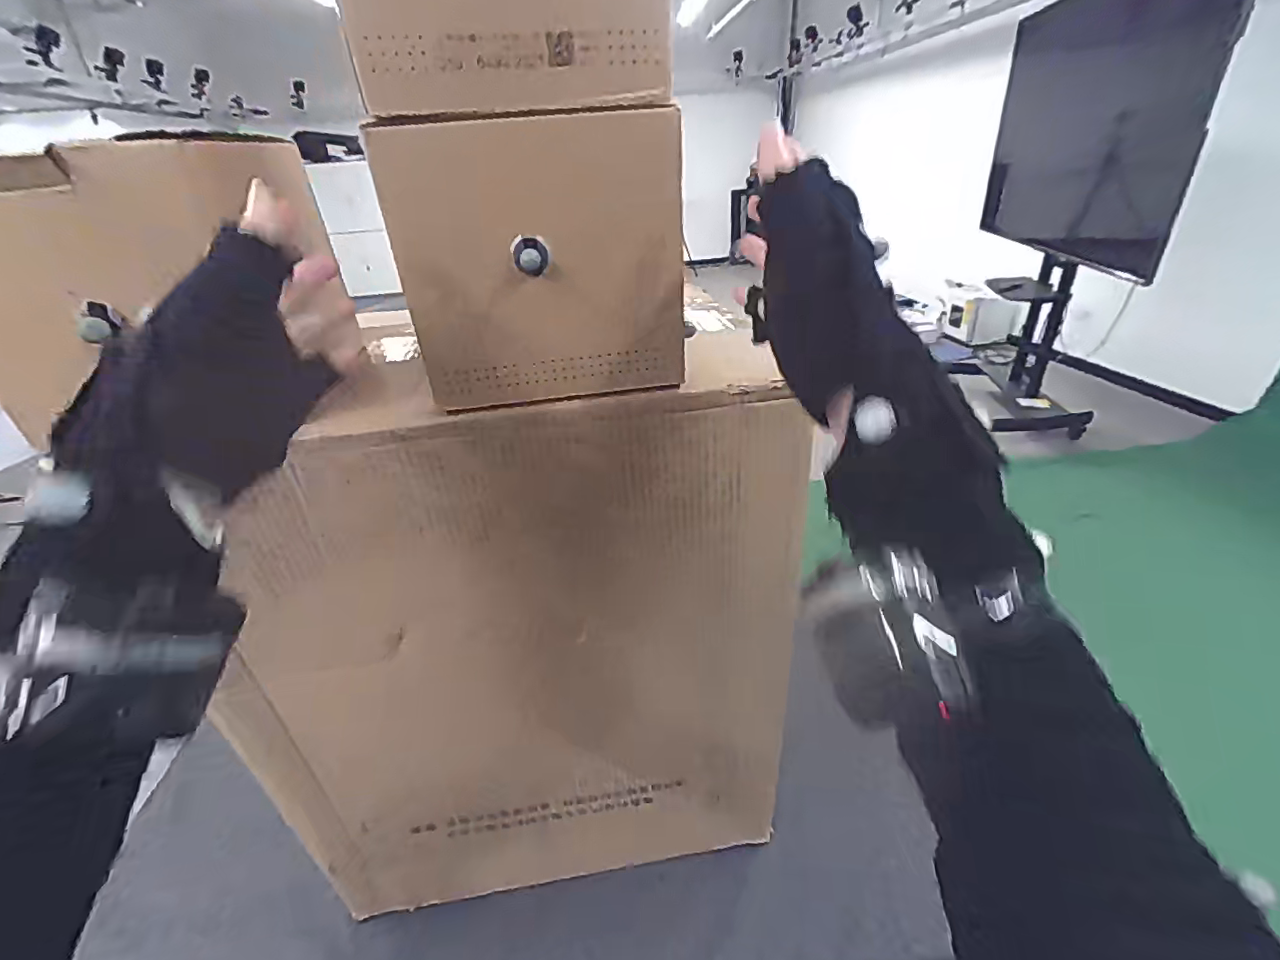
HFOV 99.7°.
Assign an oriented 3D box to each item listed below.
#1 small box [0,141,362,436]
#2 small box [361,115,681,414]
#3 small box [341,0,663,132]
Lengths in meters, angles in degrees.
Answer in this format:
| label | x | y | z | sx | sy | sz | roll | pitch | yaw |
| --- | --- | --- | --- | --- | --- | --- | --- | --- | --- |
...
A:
| label | x | y | z | sx | sy | sz | roll | pitch | yaw |
| --- | --- | --- | --- | --- | --- | --- | --- | --- | --- |
| small box | -0.329 | -0.140 | 0.394 | 0.168 | 0.176 | 0.179 | -7 | 32 | -6 |
| small box | -0.069 | -0.162 | 0.403 | 0.179 | 0.176 | 0.168 | -8 | 31 | -5 |
| small box | -0.083 | -0.304 | 0.326 | 0.168 | 0.176 | 0.179 | -7 | 30 | -10 |
